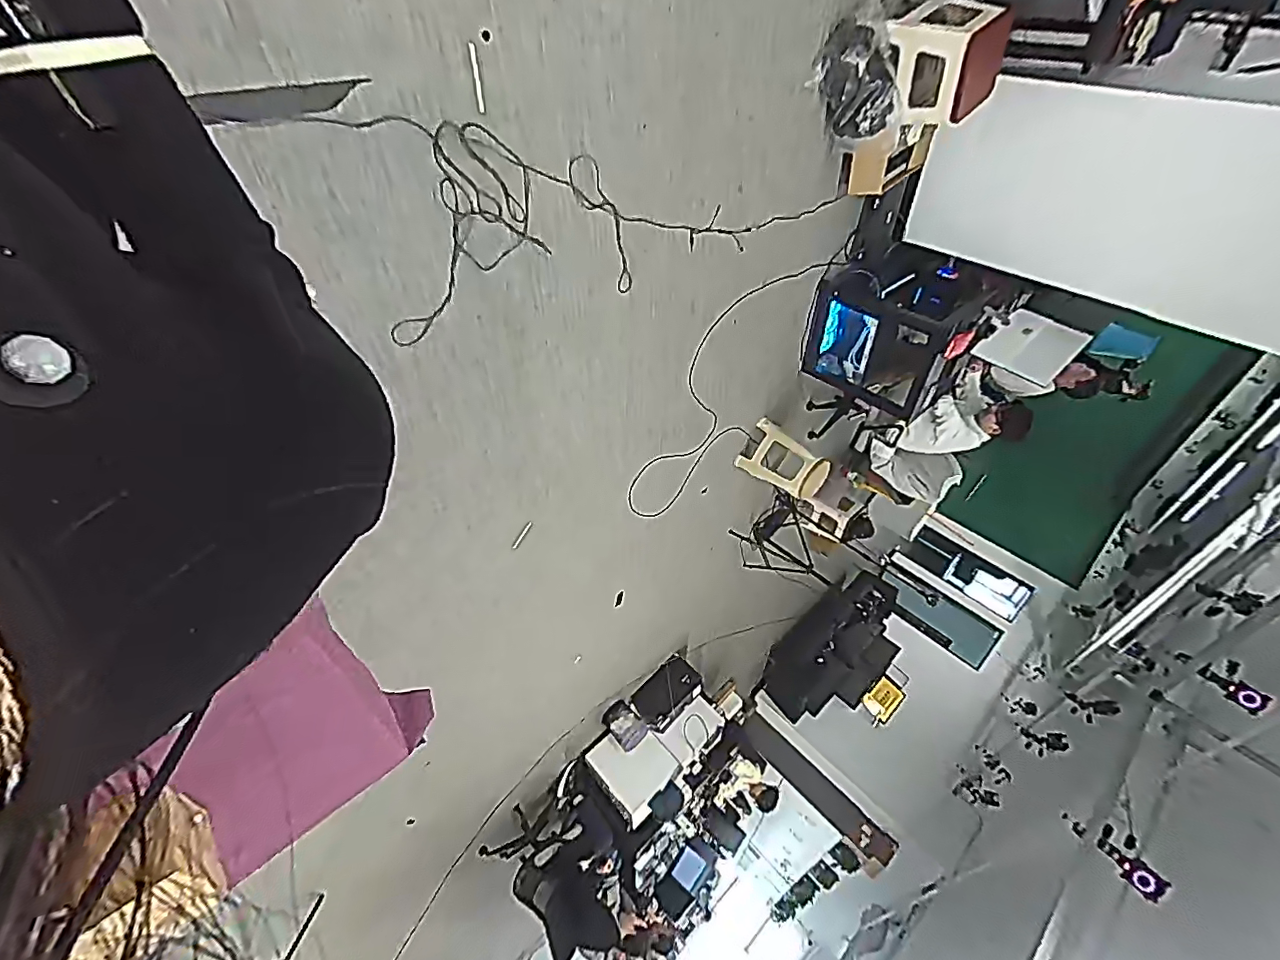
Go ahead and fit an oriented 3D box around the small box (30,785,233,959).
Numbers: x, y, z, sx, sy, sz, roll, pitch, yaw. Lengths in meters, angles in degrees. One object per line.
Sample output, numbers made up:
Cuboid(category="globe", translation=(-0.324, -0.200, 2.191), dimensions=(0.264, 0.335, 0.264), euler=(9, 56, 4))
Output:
Cuboid(category="small box", translation=(-0.795, 0.633, 0.852), dimensions=(0.179, 0.176, 0.168), euler=(-30, 142, -32))
